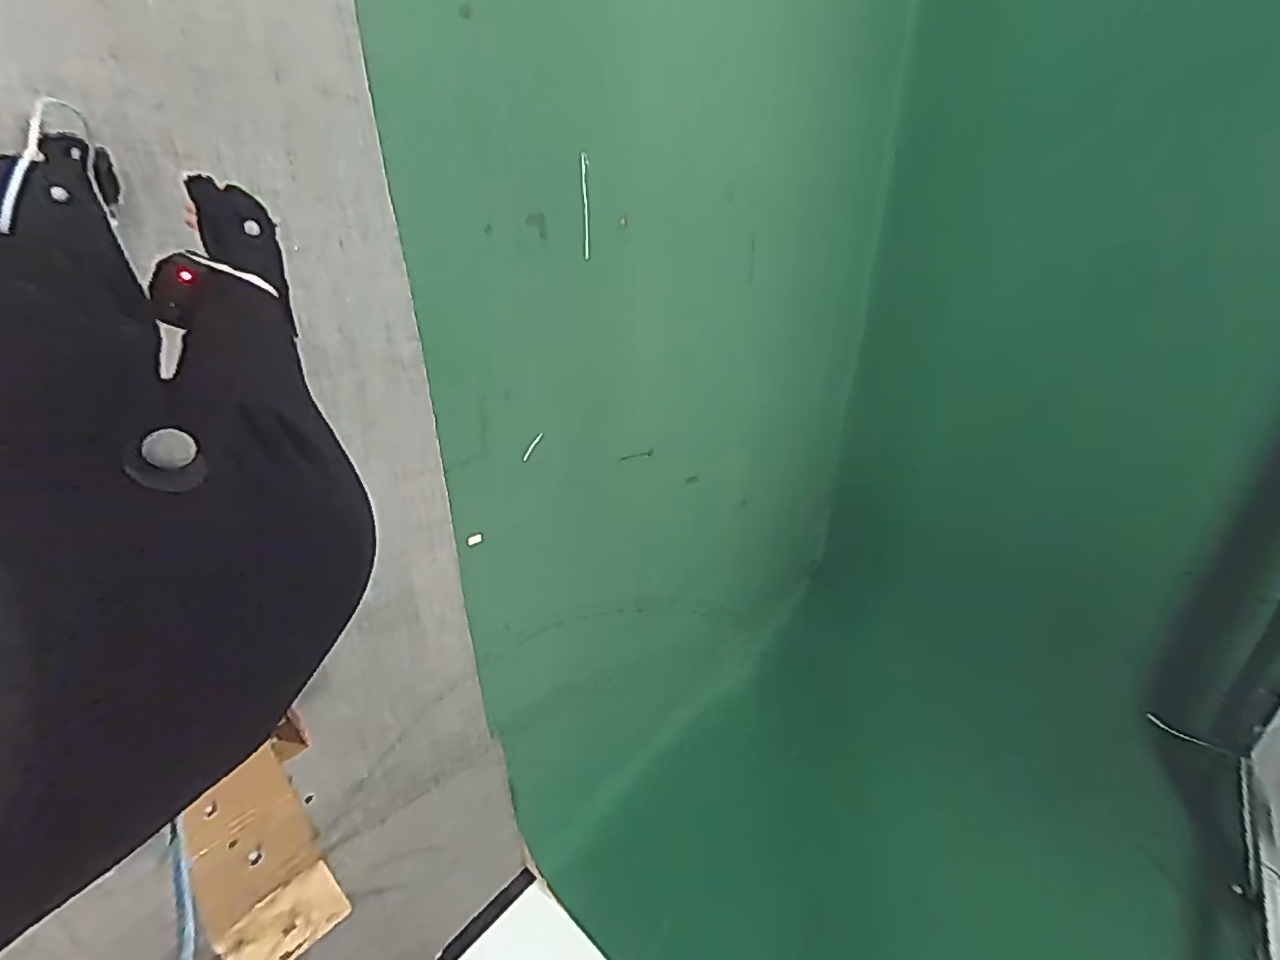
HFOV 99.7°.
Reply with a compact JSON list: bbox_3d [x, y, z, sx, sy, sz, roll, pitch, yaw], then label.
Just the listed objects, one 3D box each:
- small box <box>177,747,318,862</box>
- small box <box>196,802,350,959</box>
[{"bbox_3d":[-0.775,0.668,1.070,0.168,0.176,0.179,-27,128,-38],"label":"small box"},{"bbox_3d":[-0.657,0.722,0.969,0.168,0.176,0.179,-27,126,-38],"label":"small box"}]
